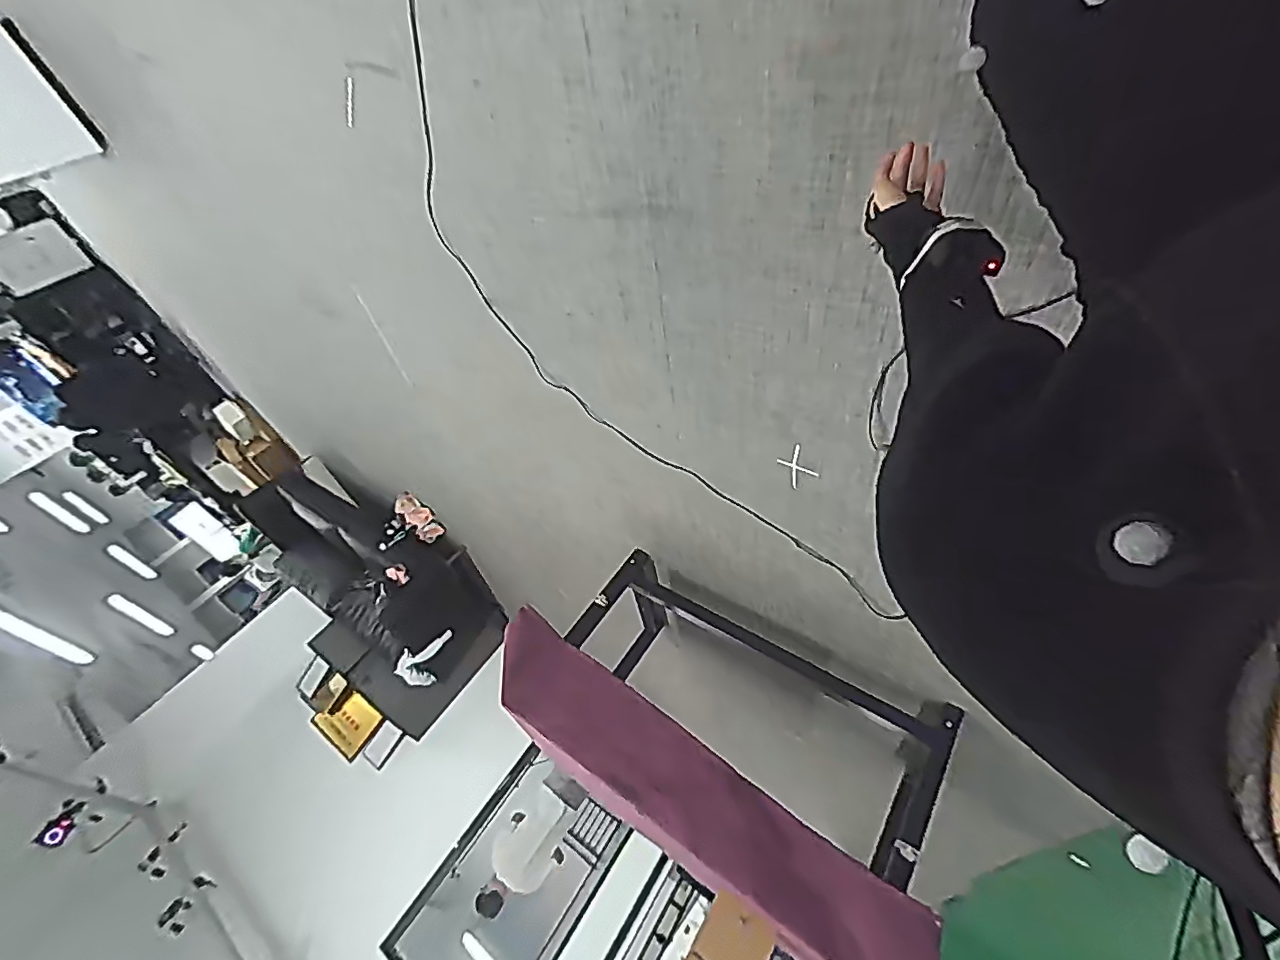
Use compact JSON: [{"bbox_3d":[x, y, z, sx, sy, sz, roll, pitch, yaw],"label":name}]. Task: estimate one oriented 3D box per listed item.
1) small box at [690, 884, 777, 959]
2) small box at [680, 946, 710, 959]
[{"bbox_3d":[0.261,1.260,1.498,0.179,0.176,0.168,22,145,31],"label":"small box"},{"bbox_3d":[0.165,1.367,1.417,0.179,0.176,0.168,21,145,30],"label":"small box"}]
